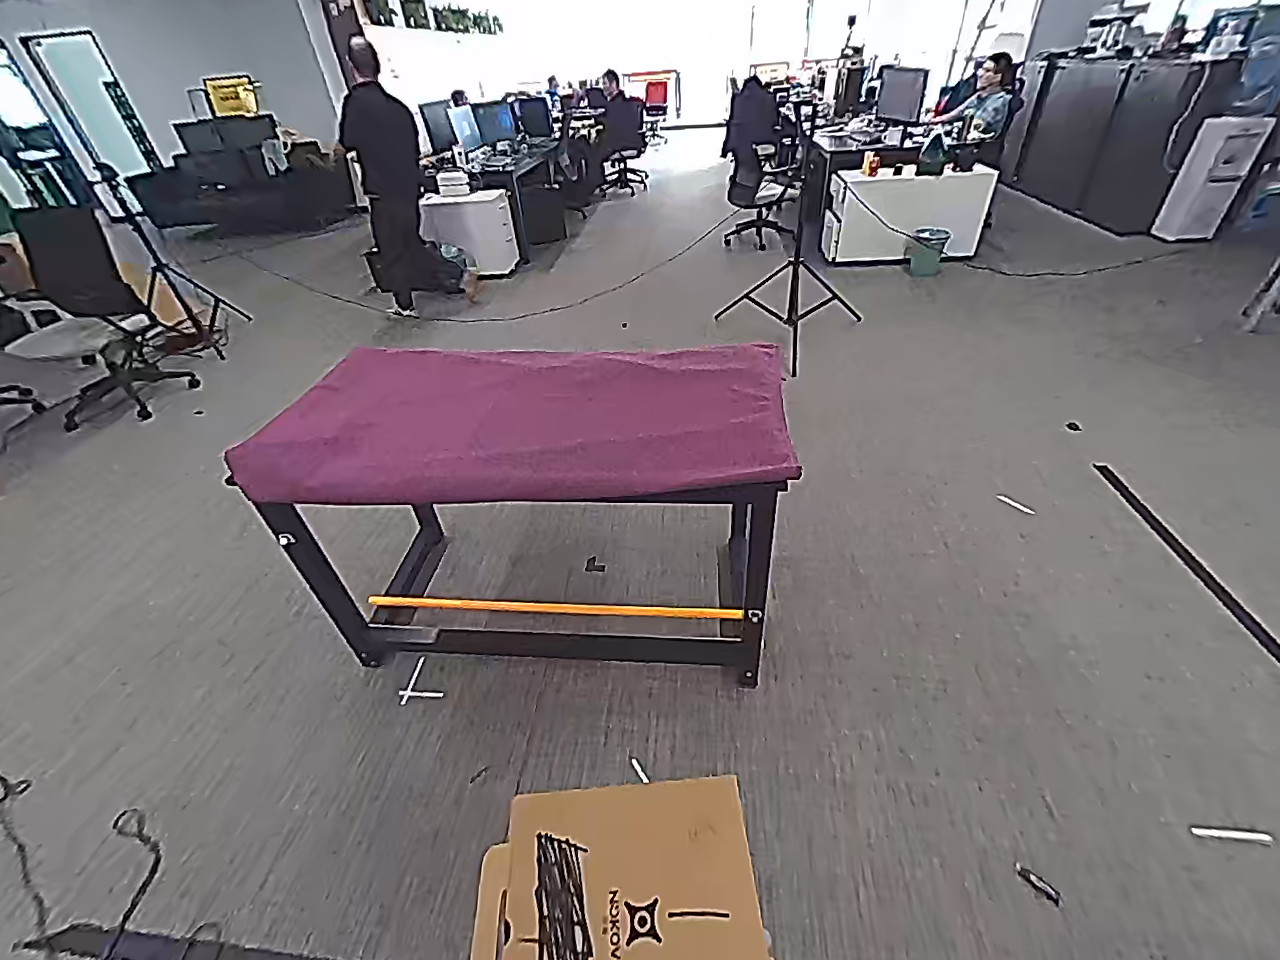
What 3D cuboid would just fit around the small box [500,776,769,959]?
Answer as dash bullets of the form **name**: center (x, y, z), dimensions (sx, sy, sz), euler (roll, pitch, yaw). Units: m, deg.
- **small box**: center (-0.001, 0.351, 0.417), dimensions (0.179, 0.176, 0.168), euler (-5, 44, -1)
